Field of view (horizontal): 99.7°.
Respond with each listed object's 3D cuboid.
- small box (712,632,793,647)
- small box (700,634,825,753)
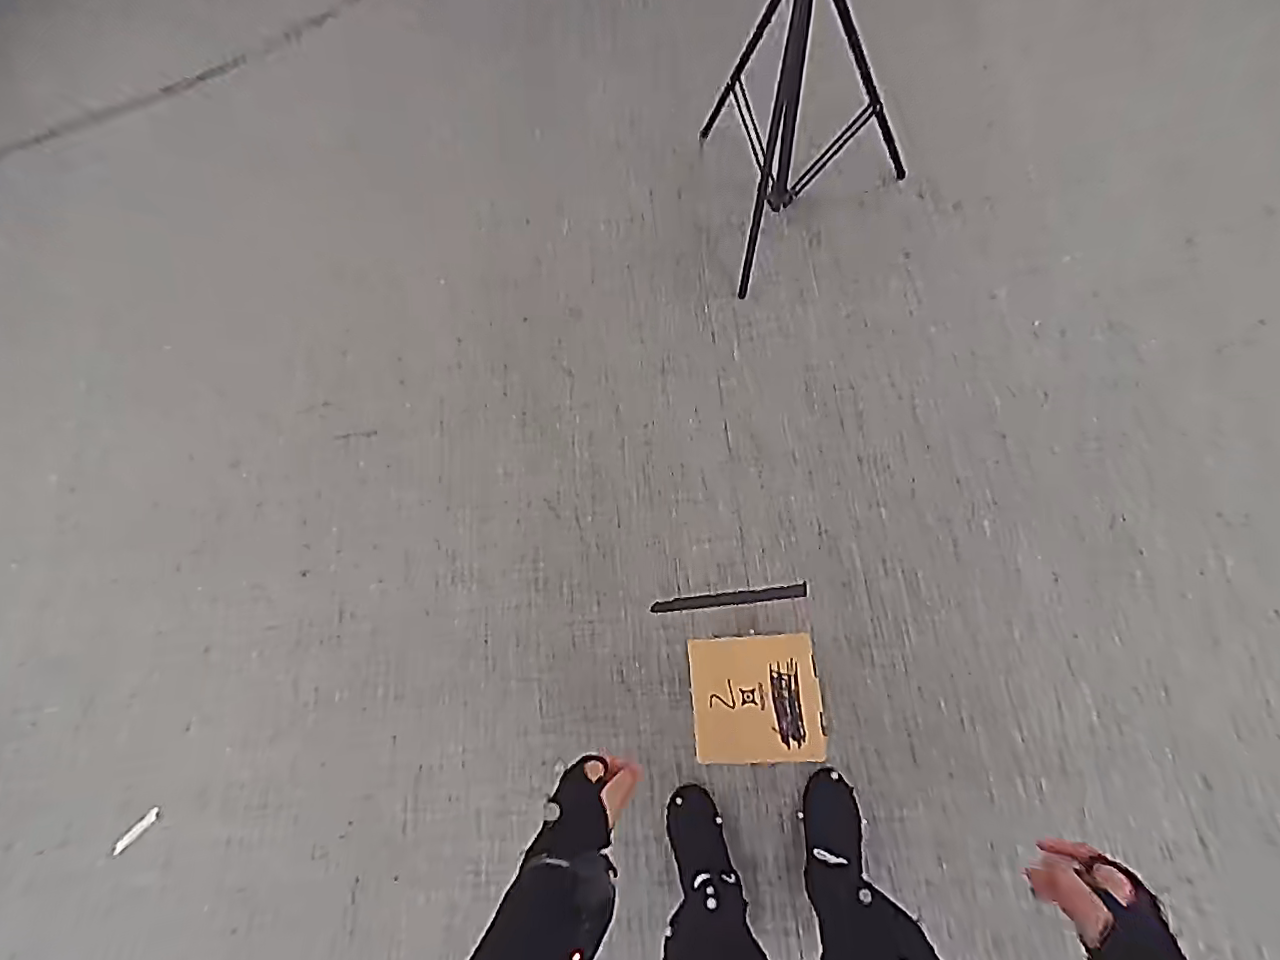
[{"bbox_3d":[0.240,0.411,1.128,0.168,0.176,0.179,-4,72,7],"label":"small box"},{"bbox_3d":[0.211,0.374,0.972,0.179,0.176,0.168,-13,72,6],"label":"small box"}]
